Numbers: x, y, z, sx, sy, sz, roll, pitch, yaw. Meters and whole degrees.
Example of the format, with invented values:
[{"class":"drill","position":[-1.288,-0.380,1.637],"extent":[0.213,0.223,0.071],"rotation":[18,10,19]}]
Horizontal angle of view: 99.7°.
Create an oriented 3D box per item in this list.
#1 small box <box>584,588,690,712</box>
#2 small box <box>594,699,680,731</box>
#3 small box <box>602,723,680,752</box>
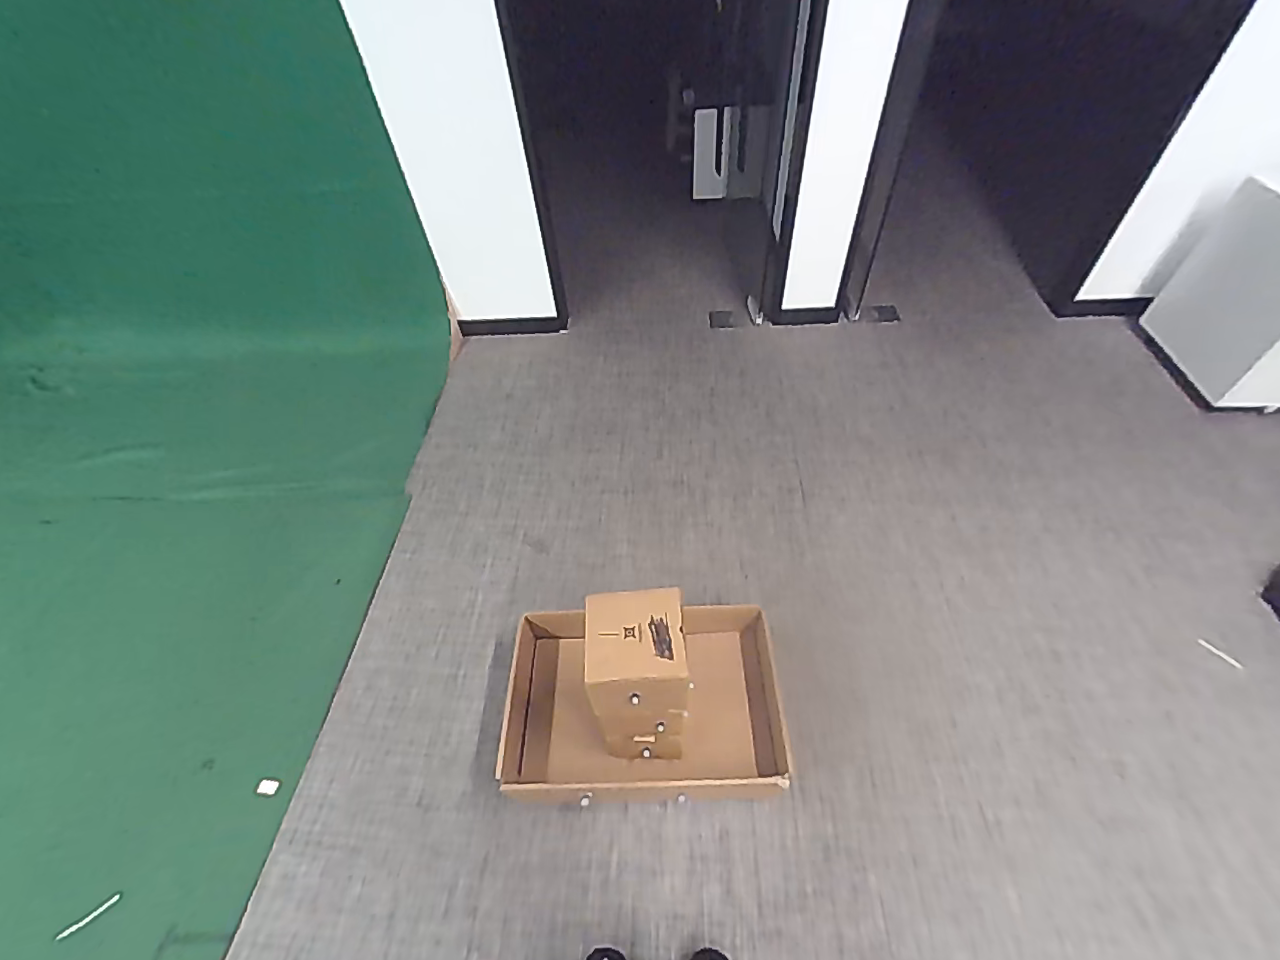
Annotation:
[{"class":"small box","position":[-0.008,0.319,1.009],"extent":[0.179,0.176,0.168],"rotation":[-6,50,-2]},{"class":"small box","position":[0.000,0.418,1.139],"extent":[0.168,0.176,0.179],"rotation":[-1,49,3]},{"class":"small box","position":[0.010,0.524,1.262],"extent":[0.168,0.176,0.179],"rotation":[-1,50,4]}]
